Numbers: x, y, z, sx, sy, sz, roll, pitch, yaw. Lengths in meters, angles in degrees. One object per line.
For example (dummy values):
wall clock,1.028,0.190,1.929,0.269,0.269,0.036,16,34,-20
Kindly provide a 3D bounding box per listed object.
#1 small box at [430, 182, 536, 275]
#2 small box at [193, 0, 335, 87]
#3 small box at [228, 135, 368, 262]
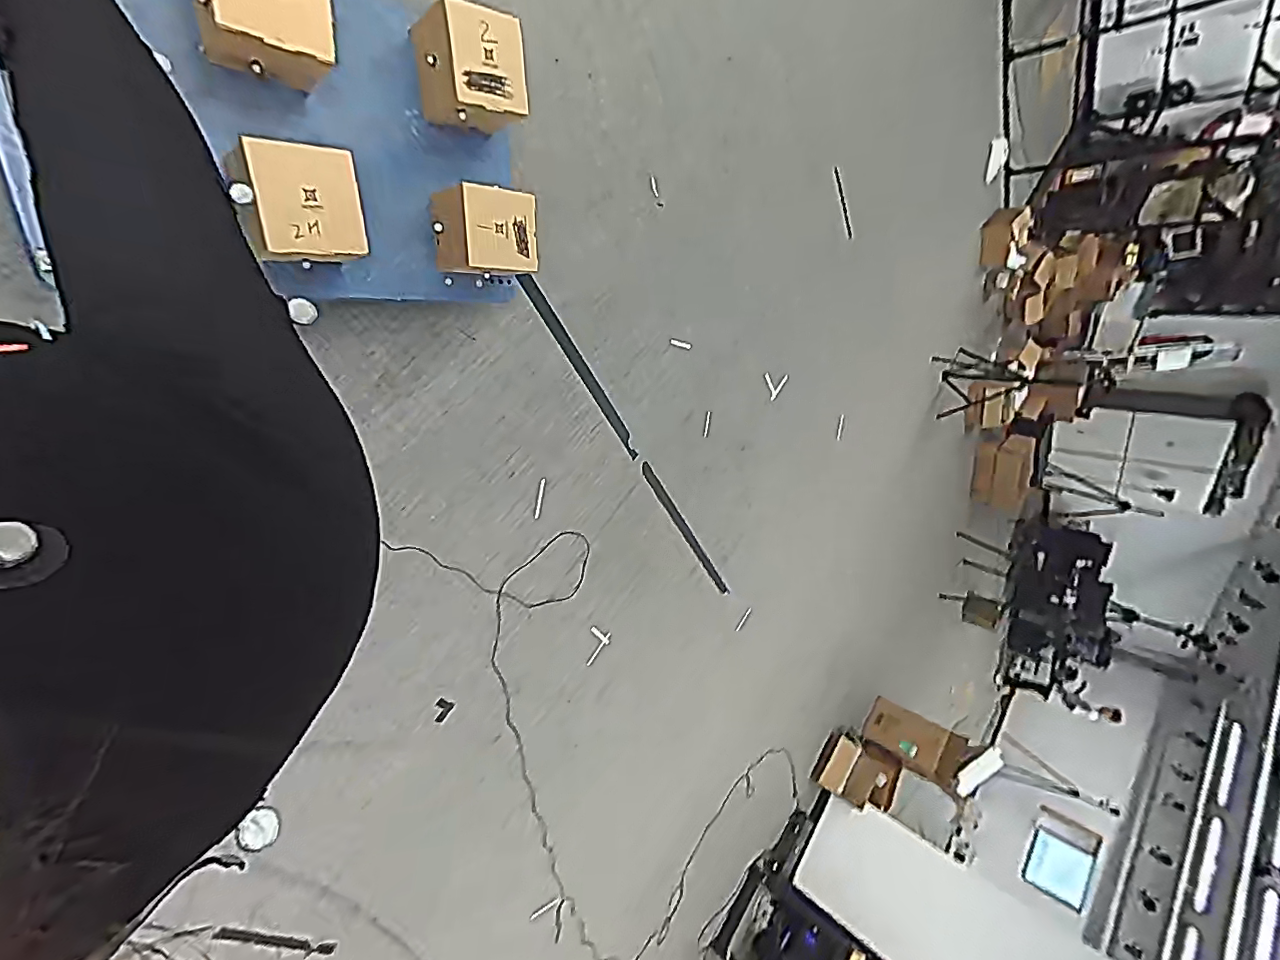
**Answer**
small box,-0.361,-0.569,1.246,0.179,0.176,0.168,-14,112,-41
small box,-0.632,-0.800,0.901,0.168,0.176,0.179,-12,113,-43
small box,-0.630,-0.504,0.994,0.168,0.176,0.179,-19,115,-41
